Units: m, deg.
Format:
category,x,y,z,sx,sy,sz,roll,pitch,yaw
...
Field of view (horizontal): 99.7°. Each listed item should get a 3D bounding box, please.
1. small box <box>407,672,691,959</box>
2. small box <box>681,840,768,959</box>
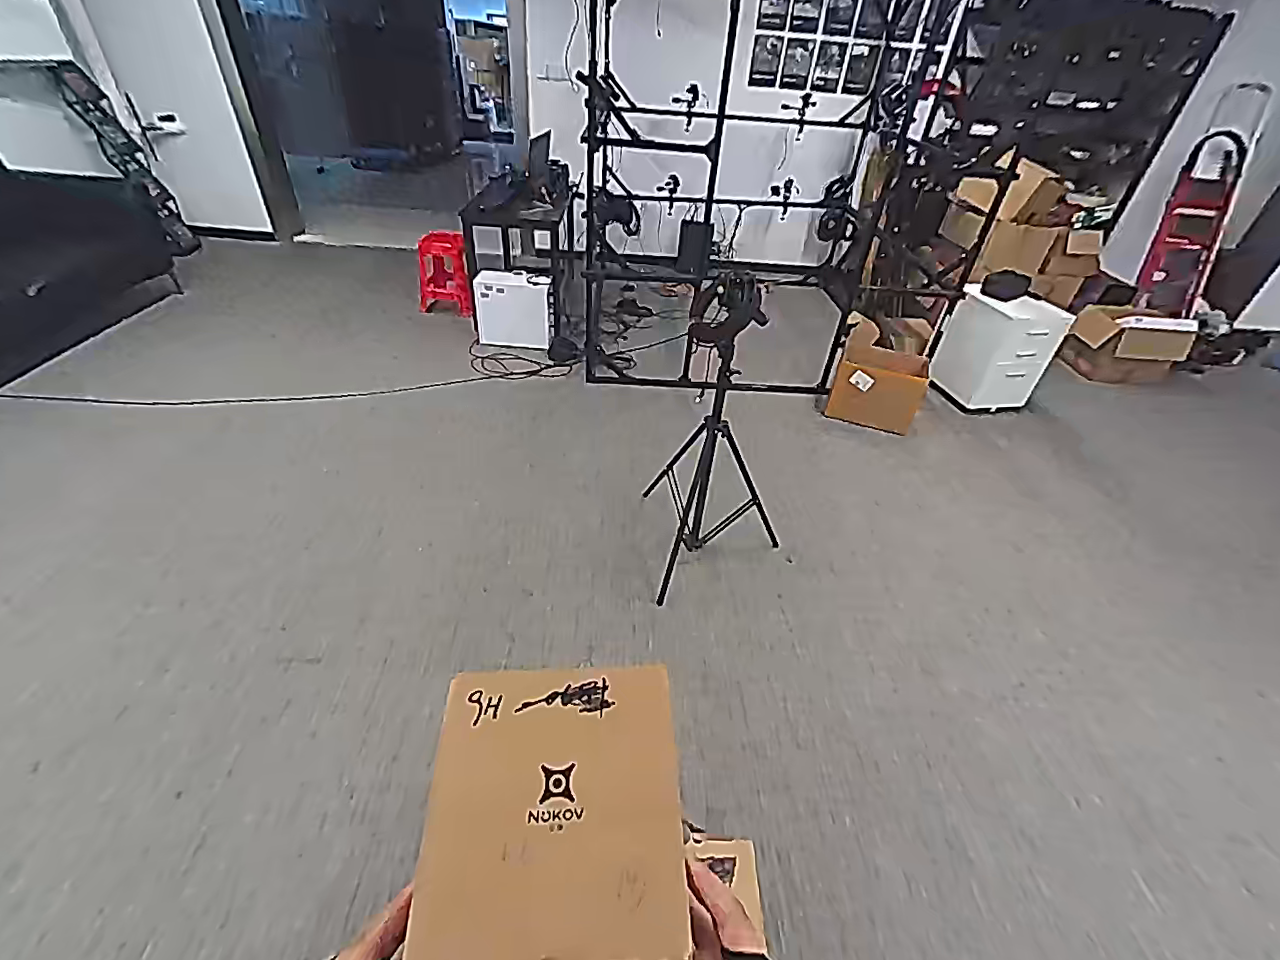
category,x,y,z,sx,sy,sz,roll,pitch,yaw
small box,-0.057,0.266,0.415,0.168,0.176,0.179,-1,50,-4
small box,0.073,0.639,0.764,0.168,0.176,0.179,5,40,-3
